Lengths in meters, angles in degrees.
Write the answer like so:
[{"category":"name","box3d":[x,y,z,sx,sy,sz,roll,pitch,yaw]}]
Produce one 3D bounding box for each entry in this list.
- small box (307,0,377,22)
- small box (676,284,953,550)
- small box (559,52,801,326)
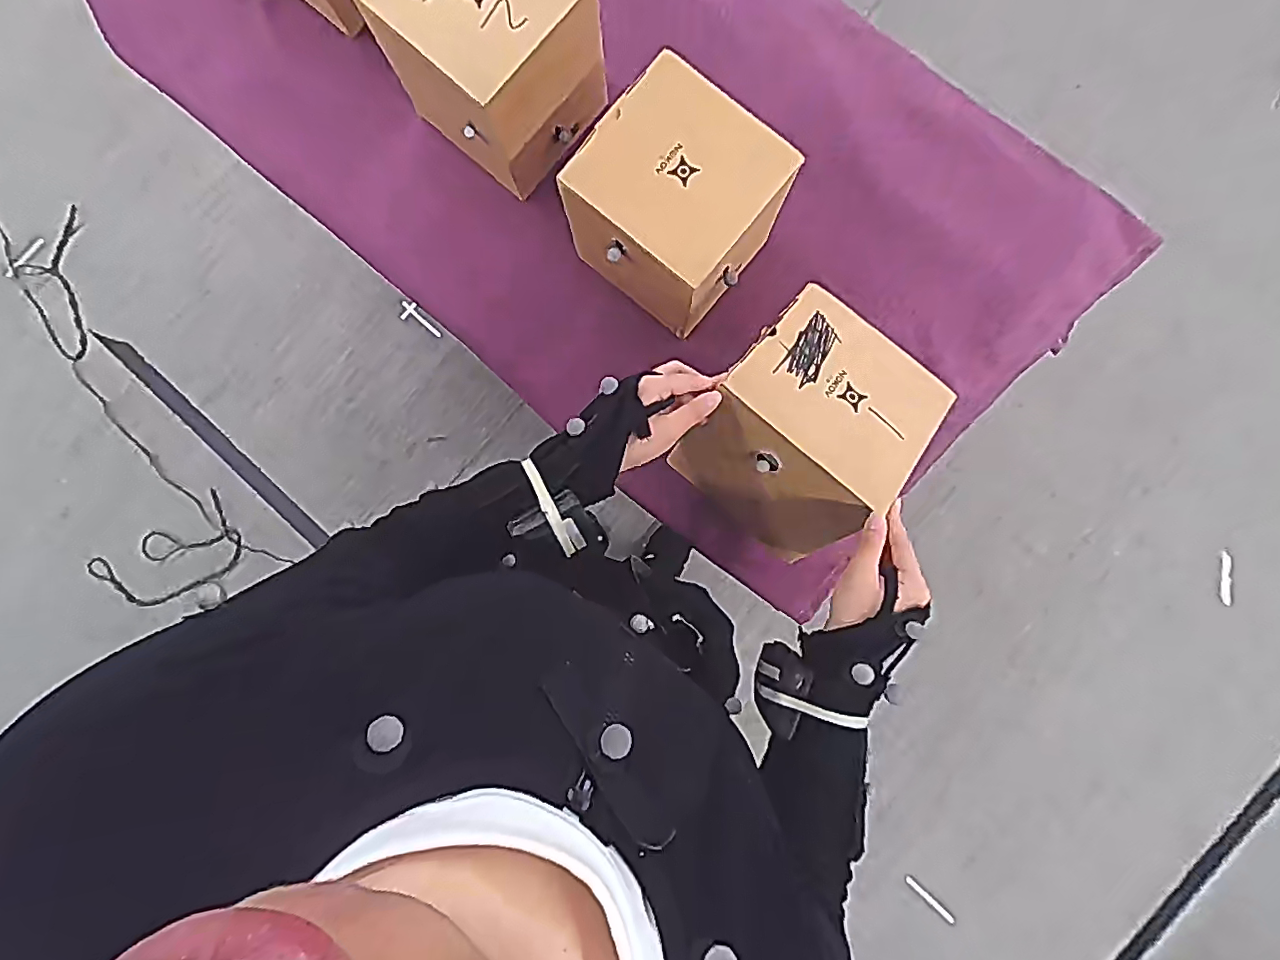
[{"category":"small box","box3d":[-0.377,-0.680,0.609,0.179,0.176,0.168,40,89,0]},{"category":"small box","box3d":[0.163,-0.052,0.551,0.179,0.176,0.168,40,65,3]},{"category":"small box","box3d":[0.040,-0.294,0.595,0.179,0.176,0.168,40,89,2]}]
